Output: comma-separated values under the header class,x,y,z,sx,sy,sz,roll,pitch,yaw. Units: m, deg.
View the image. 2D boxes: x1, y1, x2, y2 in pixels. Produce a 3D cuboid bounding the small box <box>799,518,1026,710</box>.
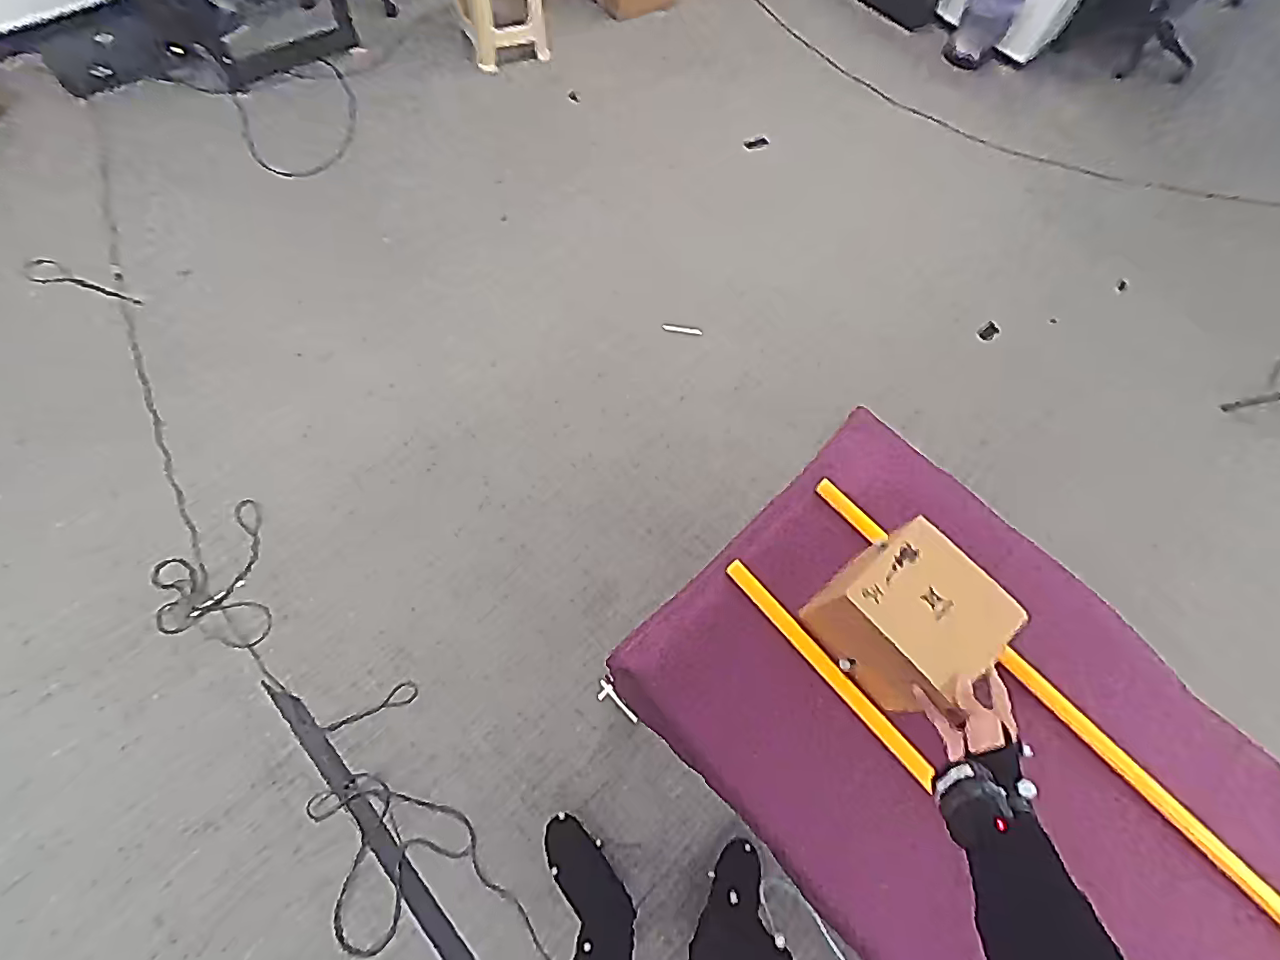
class,x,y,z,sx,sy,sz,roll,pitch,yaw
small box,0.355,0.186,0.736,0.168,0.176,0.179,-36,75,-19
